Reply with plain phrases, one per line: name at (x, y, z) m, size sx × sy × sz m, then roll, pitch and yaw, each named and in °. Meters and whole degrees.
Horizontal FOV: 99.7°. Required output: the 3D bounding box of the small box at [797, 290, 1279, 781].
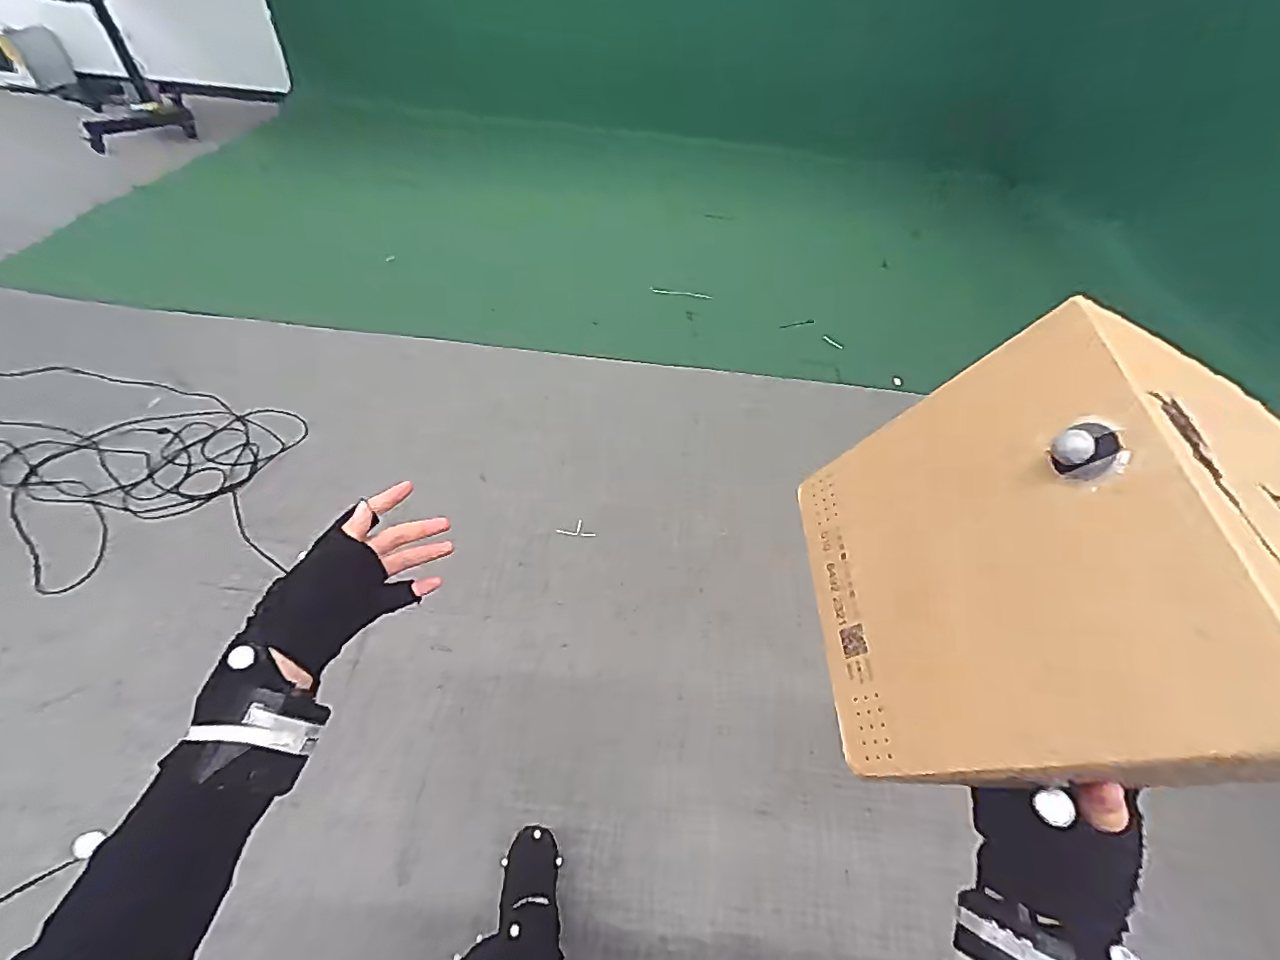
small box at (0.208, 0.050, 0.269) m, size 0.179 × 0.176 × 0.168 m, roll 16°, pitch 55°, yaw -24°
